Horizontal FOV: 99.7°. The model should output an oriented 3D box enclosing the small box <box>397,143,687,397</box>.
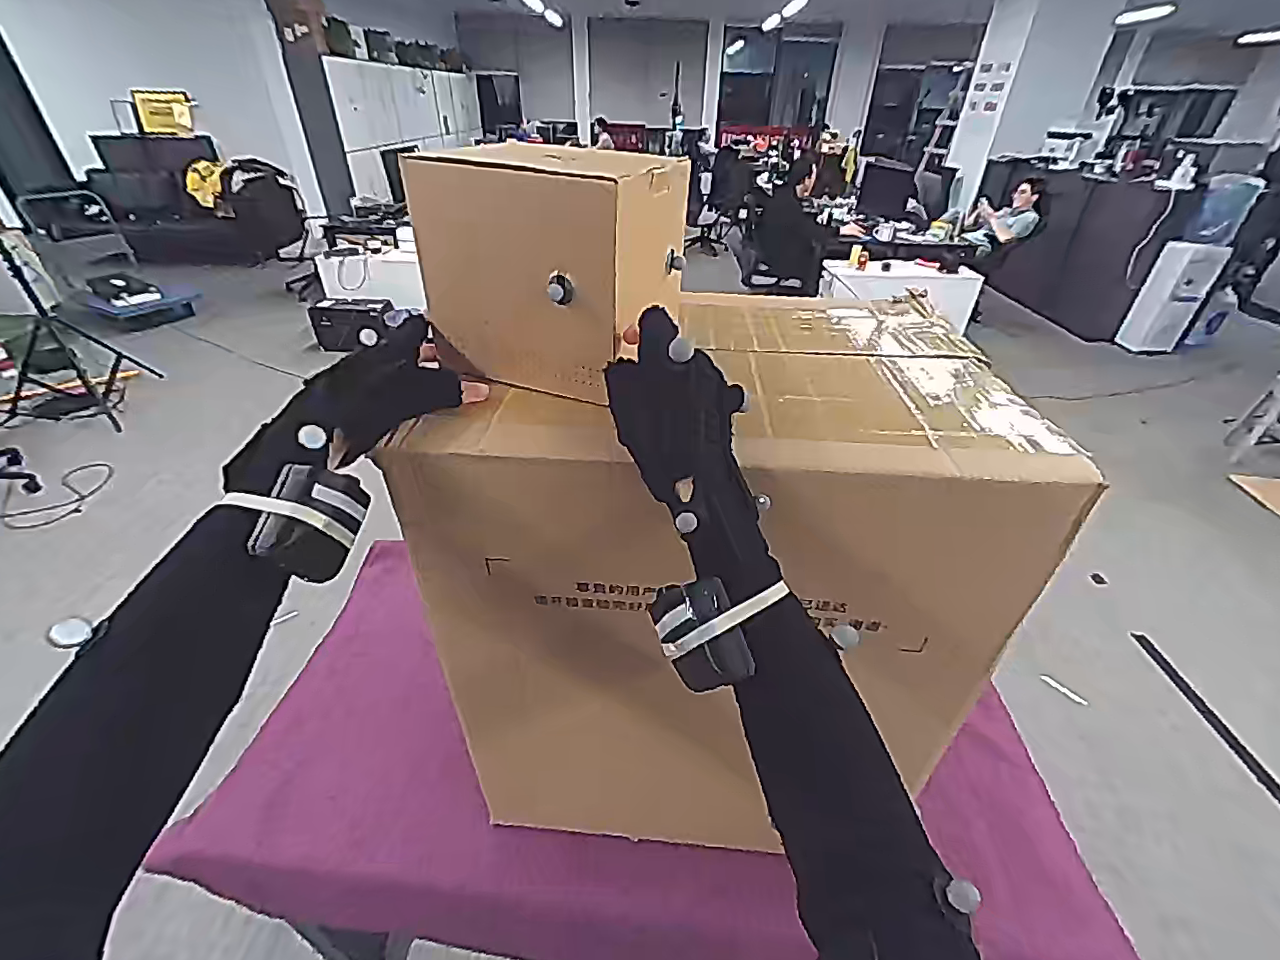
[{"bbox_3d":[-0.071,-0.187,0.474,0.179,0.176,0.168,14,36,16],"label":"small box"}]
